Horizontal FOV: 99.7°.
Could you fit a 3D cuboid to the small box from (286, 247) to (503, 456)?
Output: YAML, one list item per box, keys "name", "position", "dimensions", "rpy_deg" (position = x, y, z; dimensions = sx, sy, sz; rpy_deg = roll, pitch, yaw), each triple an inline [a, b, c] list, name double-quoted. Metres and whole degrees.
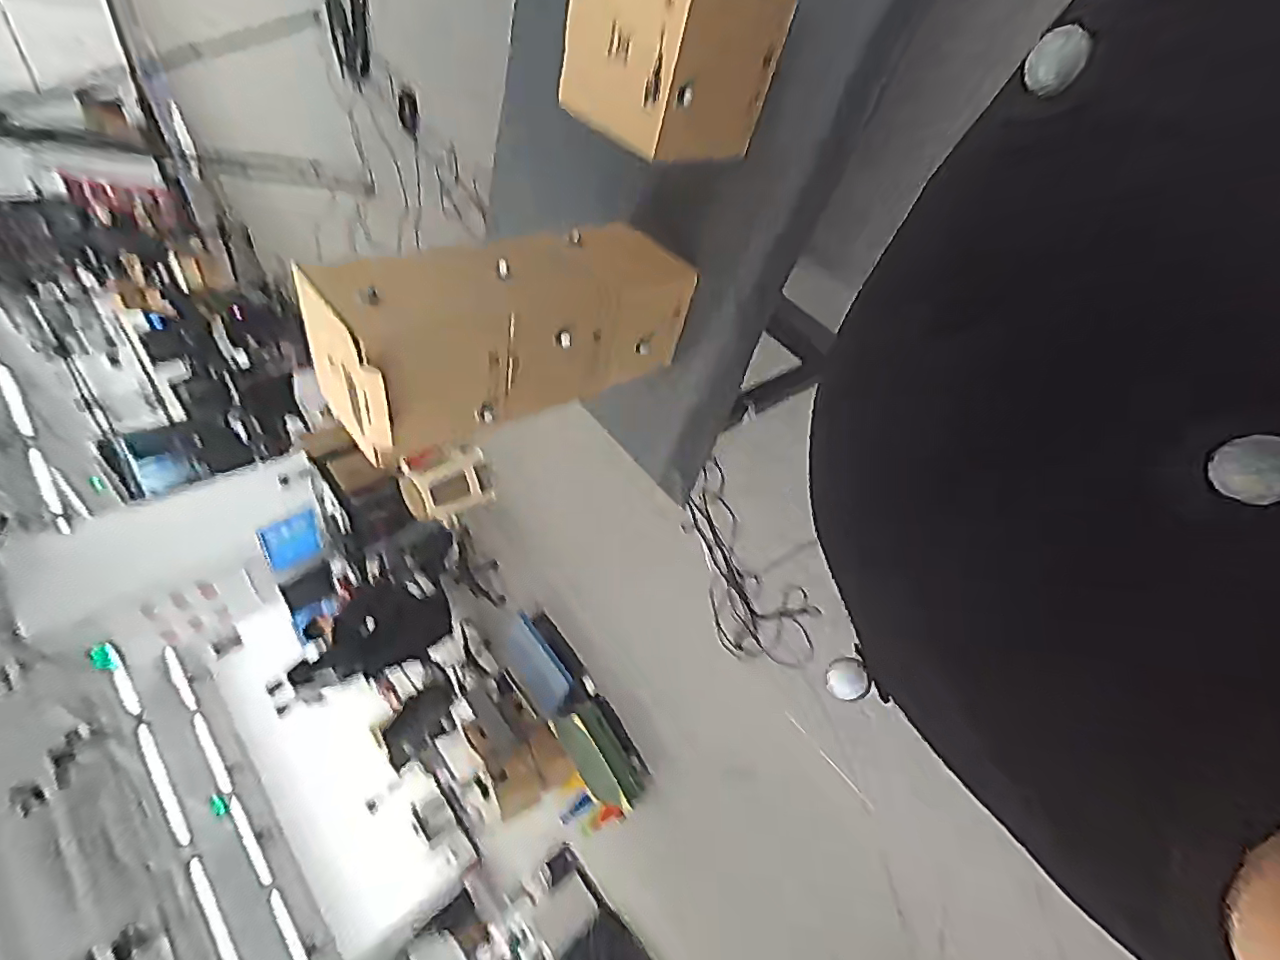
- name: "small box"
  position: [-0.279, -0.162, 0.642]
  dimensions: [0.179, 0.176, 0.168]
  rpy_deg: [43, 137, 26]

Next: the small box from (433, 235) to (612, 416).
- name: "small box"
  position: [-0.161, -0.220, 0.741]
  dimensions: [0.179, 0.176, 0.168]
  rpy_deg: [44, 138, 25]

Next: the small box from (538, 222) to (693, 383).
- name: "small box"
  position: [-0.046, -0.282, 0.838]
  dimensions: [0.179, 0.176, 0.168]
  rpy_deg: [44, 139, 24]

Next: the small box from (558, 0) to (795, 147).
- name: "small box"
  position: [0.036, -0.495, 0.609]
  dimensions: [0.179, 0.176, 0.168]
  rpy_deg: [46, 140, 23]
